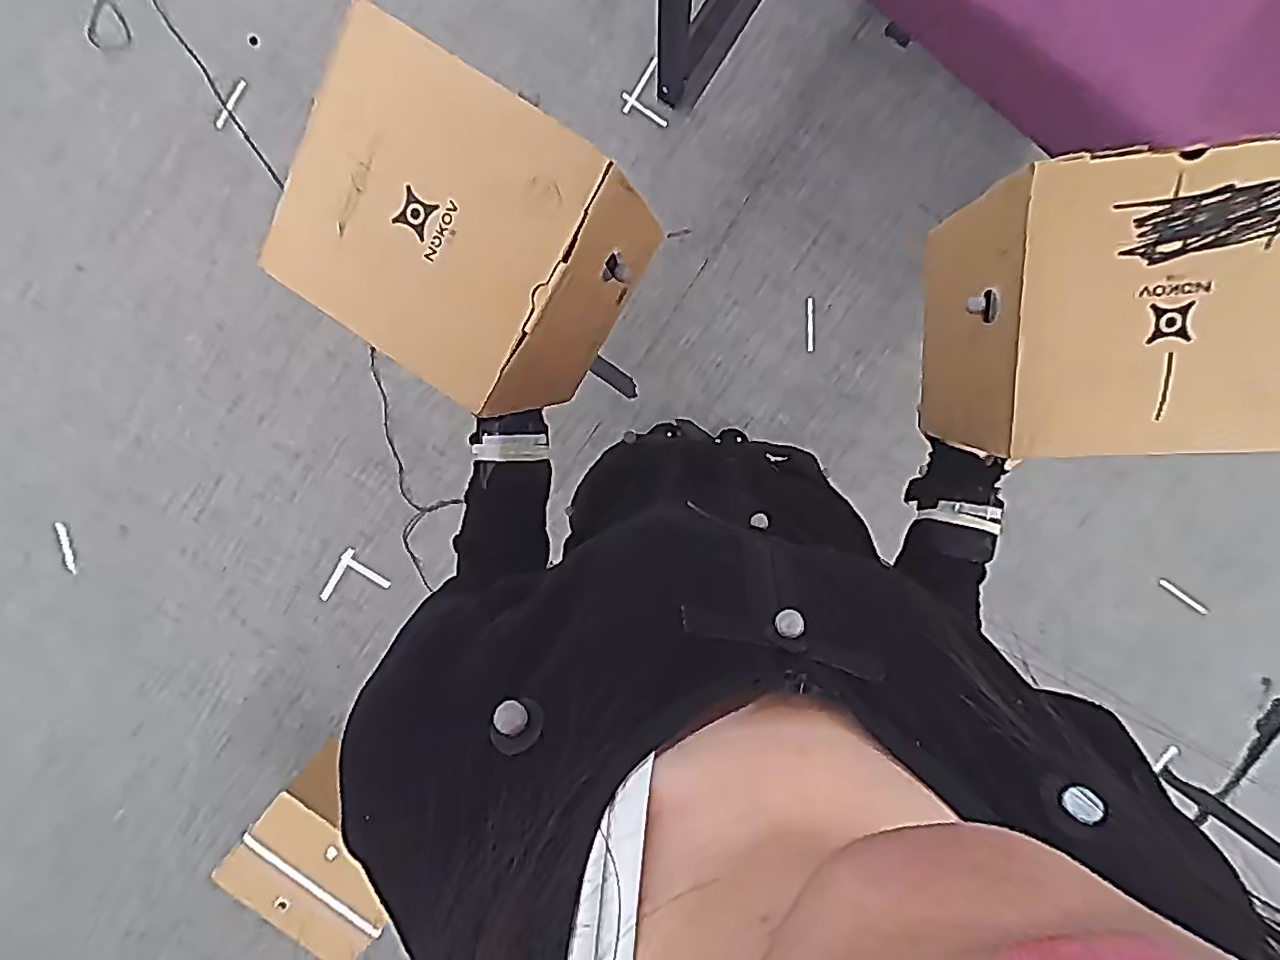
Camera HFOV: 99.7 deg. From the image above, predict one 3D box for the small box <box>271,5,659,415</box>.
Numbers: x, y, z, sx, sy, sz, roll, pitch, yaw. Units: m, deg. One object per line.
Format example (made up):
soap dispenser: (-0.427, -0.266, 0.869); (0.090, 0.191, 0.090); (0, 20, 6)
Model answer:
small box: (-0.105, -0.168, 0.392); (0.179, 0.176, 0.168); (34, 105, 4)

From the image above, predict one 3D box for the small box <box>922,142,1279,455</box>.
small box: (0.325, -0.117, 0.398); (0.168, 0.176, 0.179); (-1, 101, 9)
